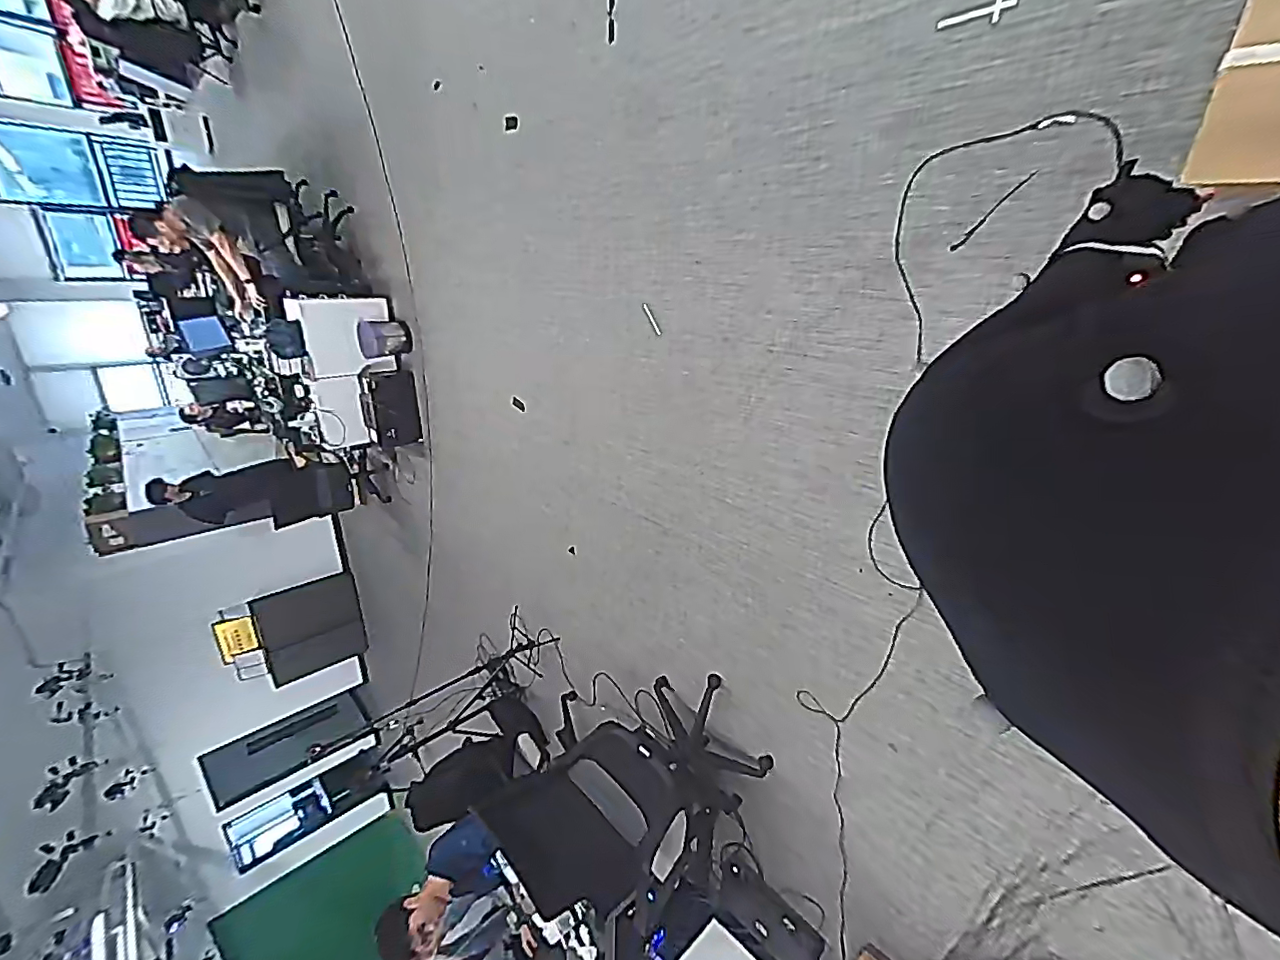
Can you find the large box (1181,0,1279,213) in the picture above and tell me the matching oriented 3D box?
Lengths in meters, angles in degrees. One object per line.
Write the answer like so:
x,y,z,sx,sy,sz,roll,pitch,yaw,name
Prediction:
1.066,-0.552,0.732,0.408,0.320,0.320,24,121,40,large box
